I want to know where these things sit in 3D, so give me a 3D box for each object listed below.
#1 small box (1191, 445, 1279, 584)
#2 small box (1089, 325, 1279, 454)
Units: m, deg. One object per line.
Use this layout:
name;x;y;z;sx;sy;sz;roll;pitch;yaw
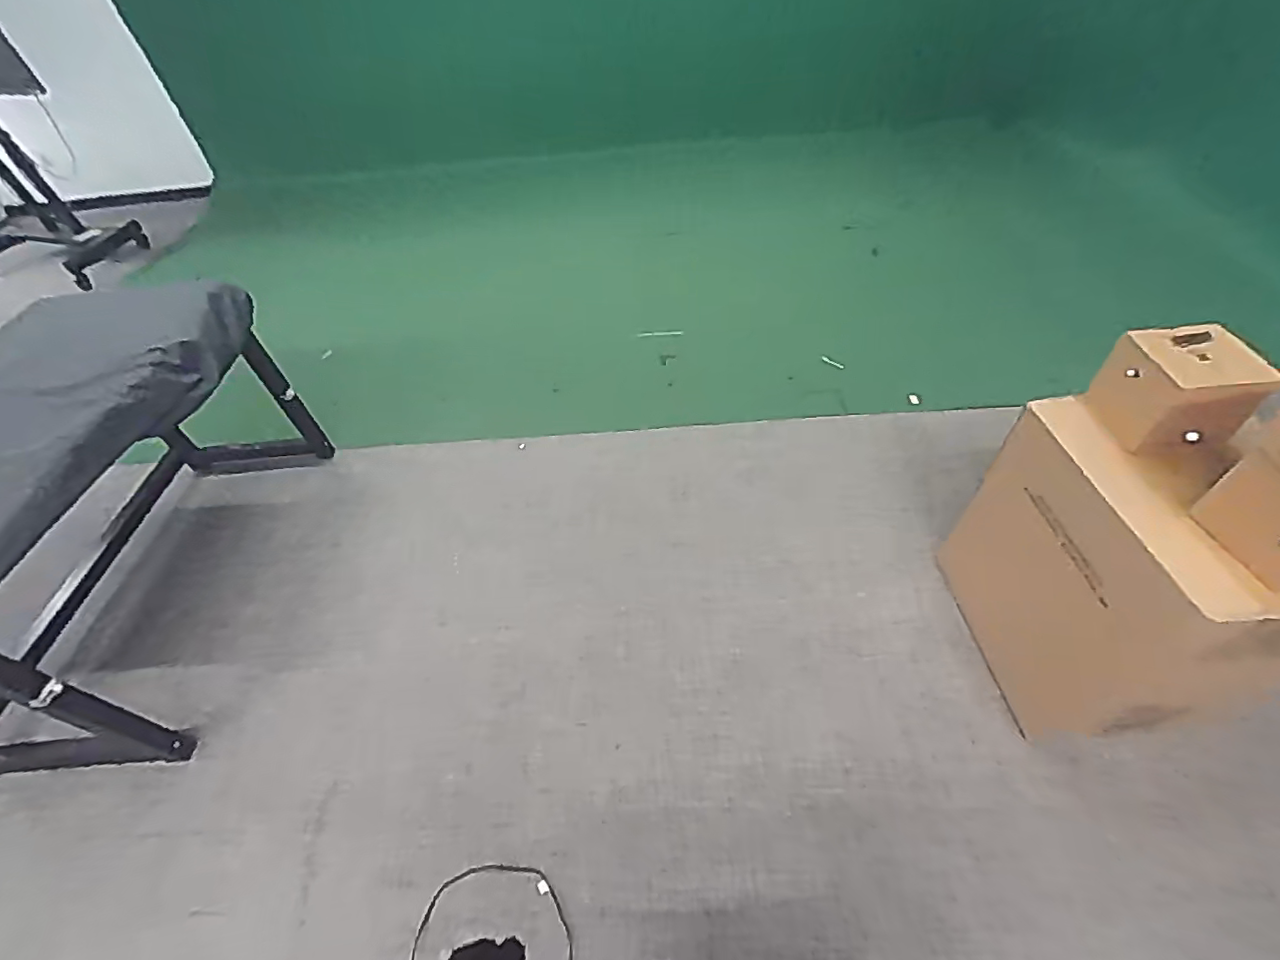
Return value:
small box;1.047;0.050;0.839;0.168;0.176;0.179;-12;46;-3
small box;1.026;-0.172;1.041;0.168;0.176;0.179;-5;48;6
